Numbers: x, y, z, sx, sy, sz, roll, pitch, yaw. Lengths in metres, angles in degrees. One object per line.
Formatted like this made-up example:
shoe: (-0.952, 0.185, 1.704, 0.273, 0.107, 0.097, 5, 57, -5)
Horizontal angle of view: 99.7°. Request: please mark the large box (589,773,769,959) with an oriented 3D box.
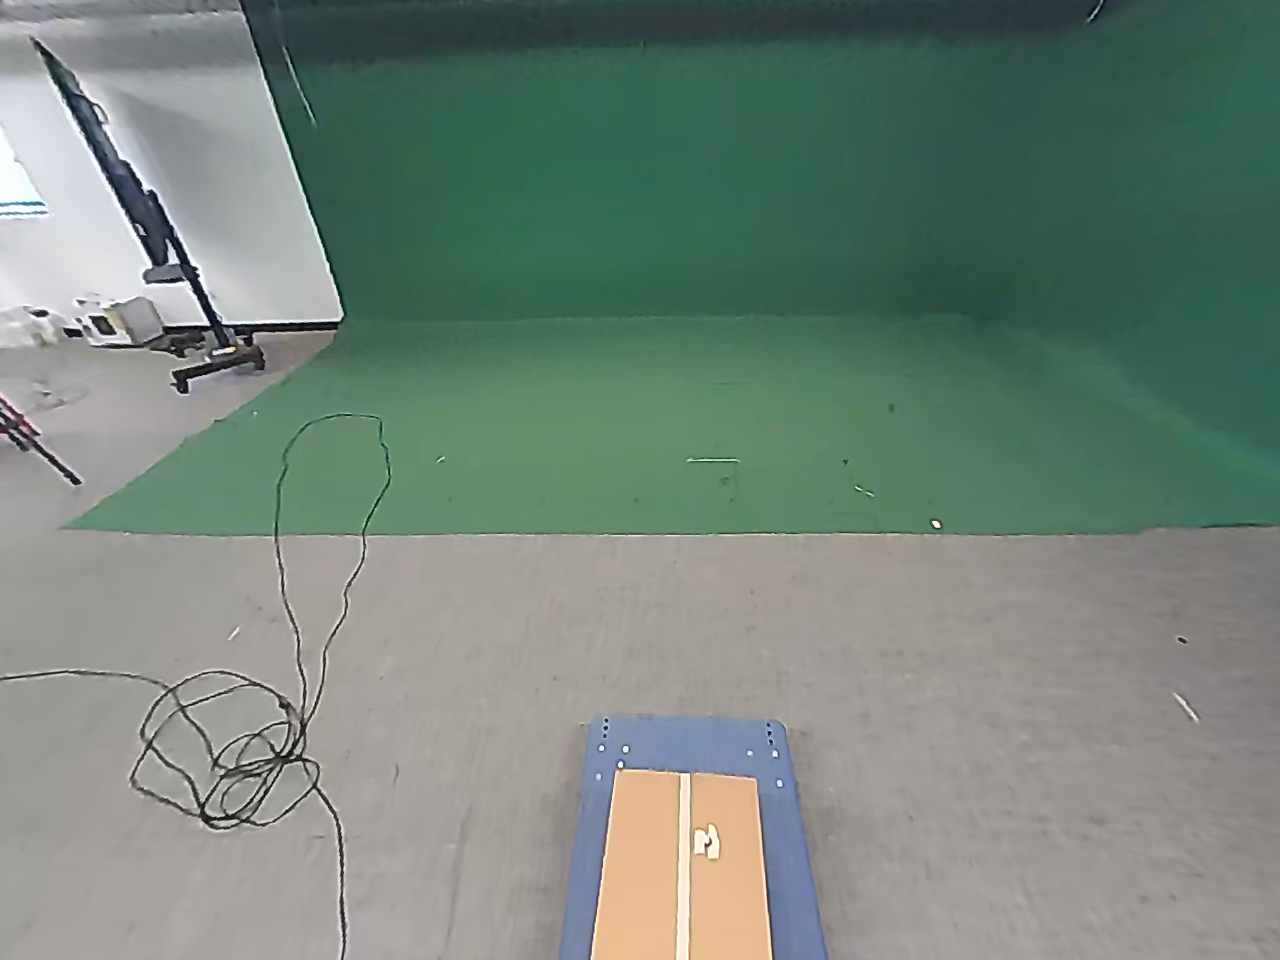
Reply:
large box: (0.082, 0.889, 1.108, 0.320, 0.320, 0.408, 2, 34, 5)
